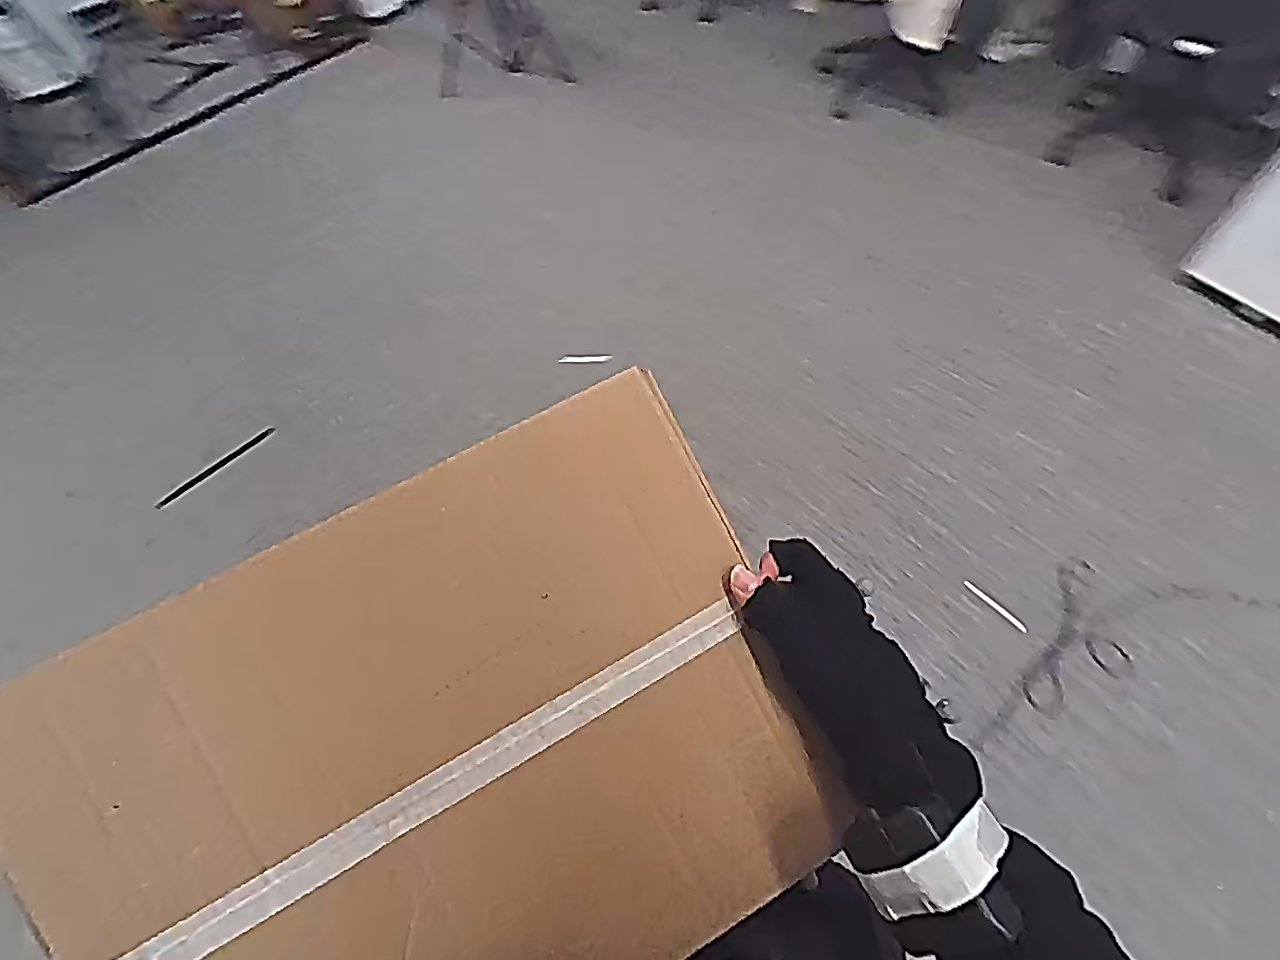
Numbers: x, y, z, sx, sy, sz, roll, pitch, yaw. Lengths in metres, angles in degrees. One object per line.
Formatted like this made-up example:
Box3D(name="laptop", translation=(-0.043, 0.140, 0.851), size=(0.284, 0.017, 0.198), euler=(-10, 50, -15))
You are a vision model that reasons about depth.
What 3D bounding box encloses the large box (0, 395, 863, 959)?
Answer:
Box3D(name="large box", translation=(-0.115, 0.175, 0.458), size=(0.408, 0.320, 0.320), euler=(-27, 90, -7))
